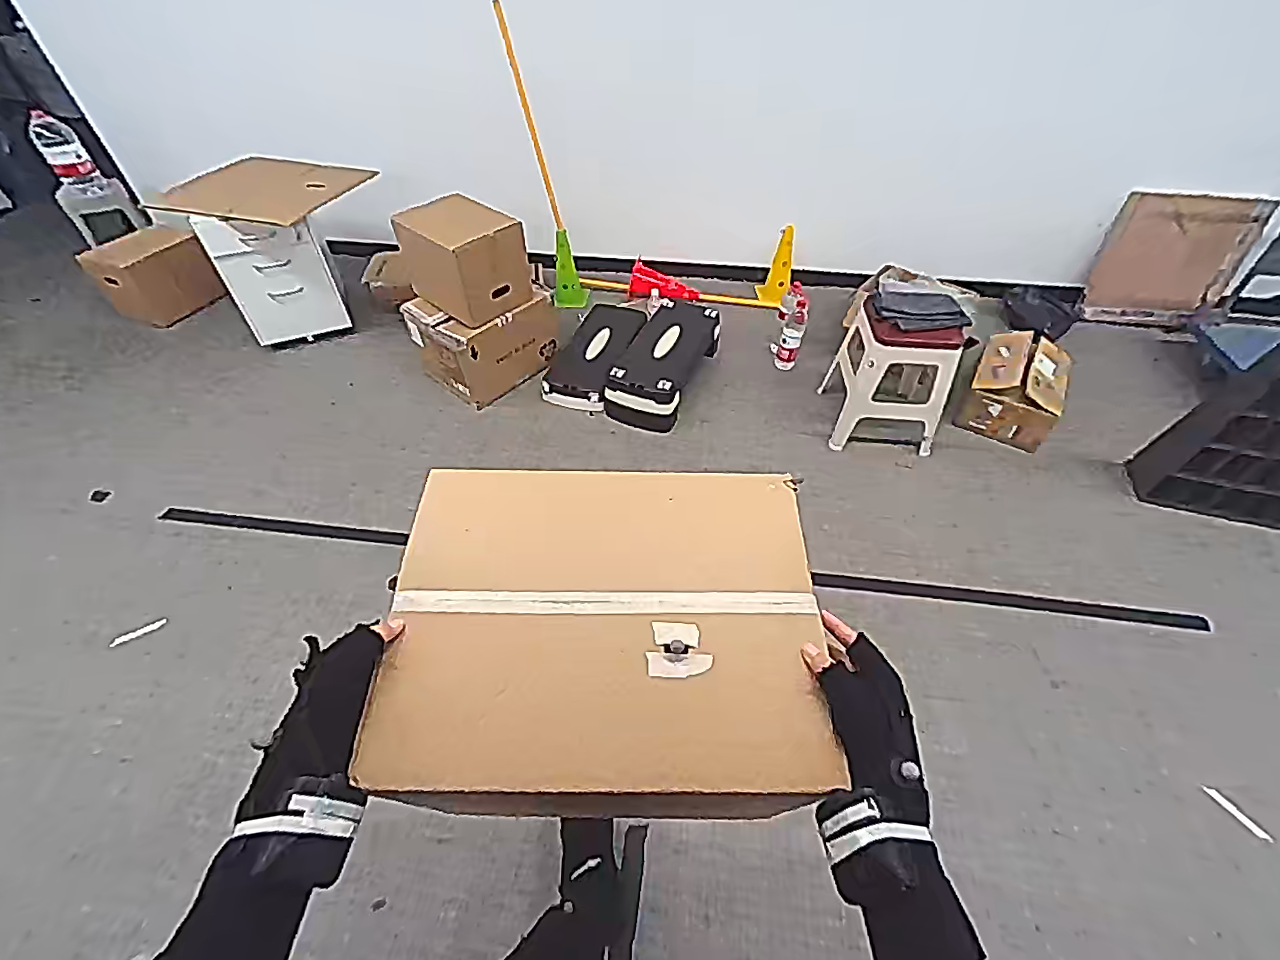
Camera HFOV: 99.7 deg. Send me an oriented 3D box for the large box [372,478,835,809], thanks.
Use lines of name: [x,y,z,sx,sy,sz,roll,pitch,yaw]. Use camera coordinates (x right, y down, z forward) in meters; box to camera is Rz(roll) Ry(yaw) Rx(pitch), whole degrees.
large box: [-0.035,0.210,0.662,0.408,0.320,0.320,1,56,-1]
